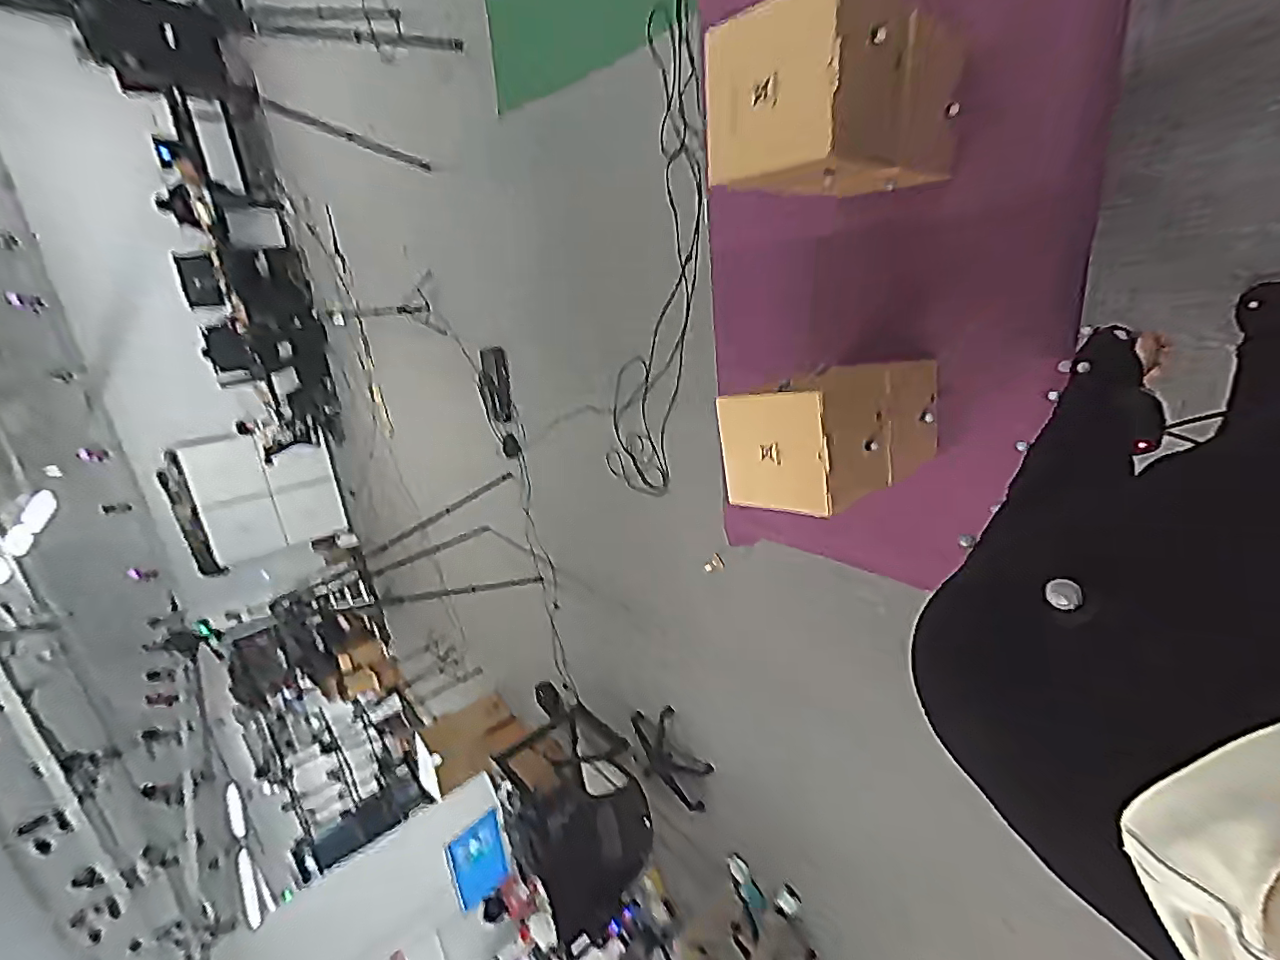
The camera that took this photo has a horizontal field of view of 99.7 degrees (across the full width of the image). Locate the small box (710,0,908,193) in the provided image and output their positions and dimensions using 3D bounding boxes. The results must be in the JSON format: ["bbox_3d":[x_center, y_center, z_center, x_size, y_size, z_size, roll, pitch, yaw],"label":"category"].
[{"bbox_3d":[0.208,-0.465,0.674,0.179,0.176,0.168,18,119,47],"label":"small box"}]

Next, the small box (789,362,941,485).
[{"bbox_3d":[0.372,-0.100,0.900,0.179,0.176,0.168,9,113,50],"label":"small box"}]

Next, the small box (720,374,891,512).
[{"bbox_3d":[0.246,-0.061,0.805,0.179,0.176,0.168,5,109,50],"label":"small box"}]
